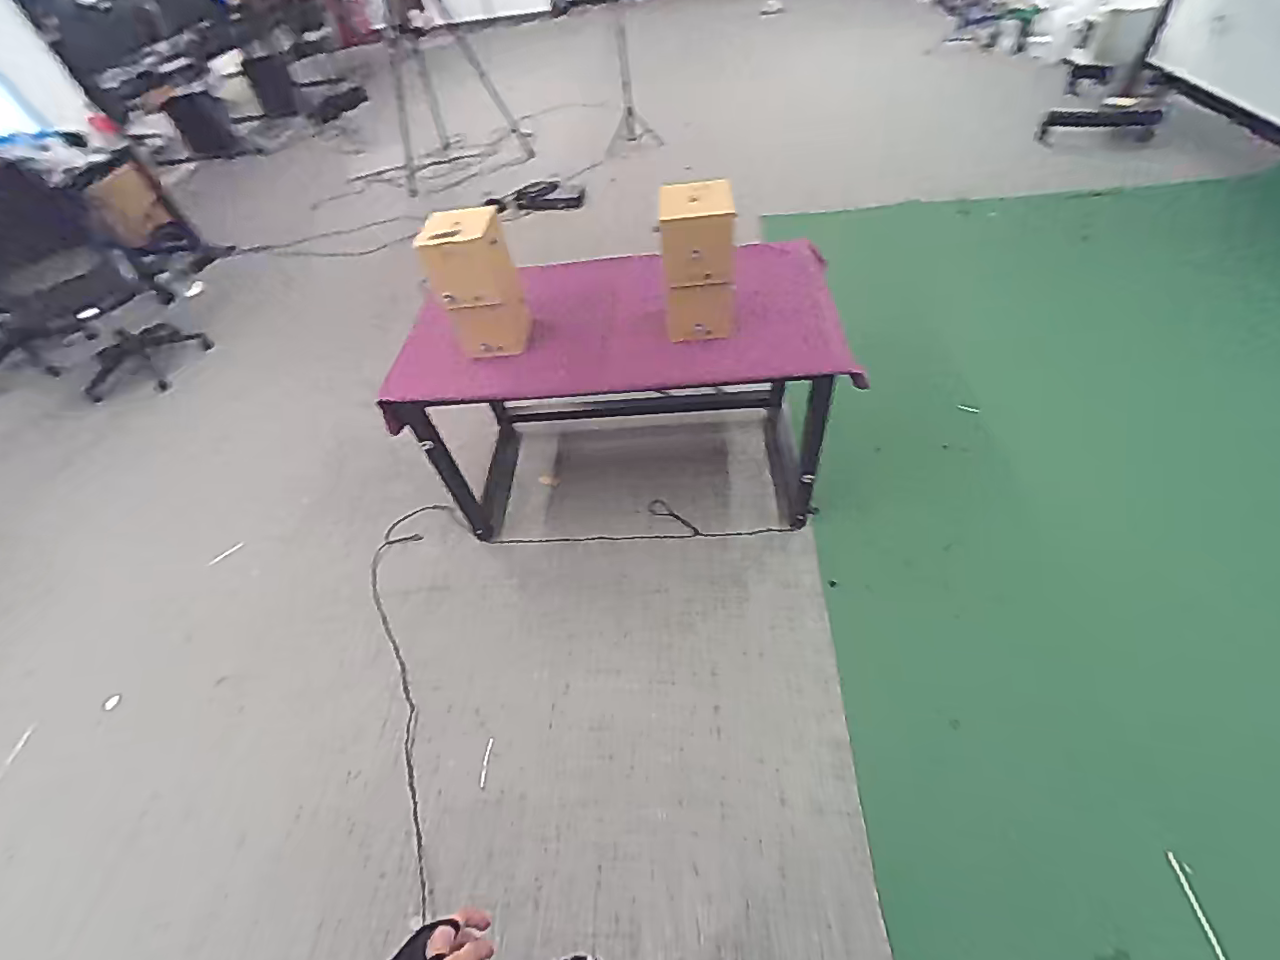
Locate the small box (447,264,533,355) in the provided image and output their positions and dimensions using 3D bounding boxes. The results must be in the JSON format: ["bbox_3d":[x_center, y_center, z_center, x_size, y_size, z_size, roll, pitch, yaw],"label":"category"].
[{"bbox_3d":[-0.395,-0.459,1.464,0.168,0.176,0.179,-3,51,6],"label":"small box"}]

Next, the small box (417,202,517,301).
[{"bbox_3d":[-0.415,-0.556,1.333,0.168,0.176,0.179,-3,49,6],"label":"small box"}]

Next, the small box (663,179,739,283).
[{"bbox_3d":[0.145,-0.580,1.275,0.168,0.176,0.179,-2,50,6],"label":"small box"}]
